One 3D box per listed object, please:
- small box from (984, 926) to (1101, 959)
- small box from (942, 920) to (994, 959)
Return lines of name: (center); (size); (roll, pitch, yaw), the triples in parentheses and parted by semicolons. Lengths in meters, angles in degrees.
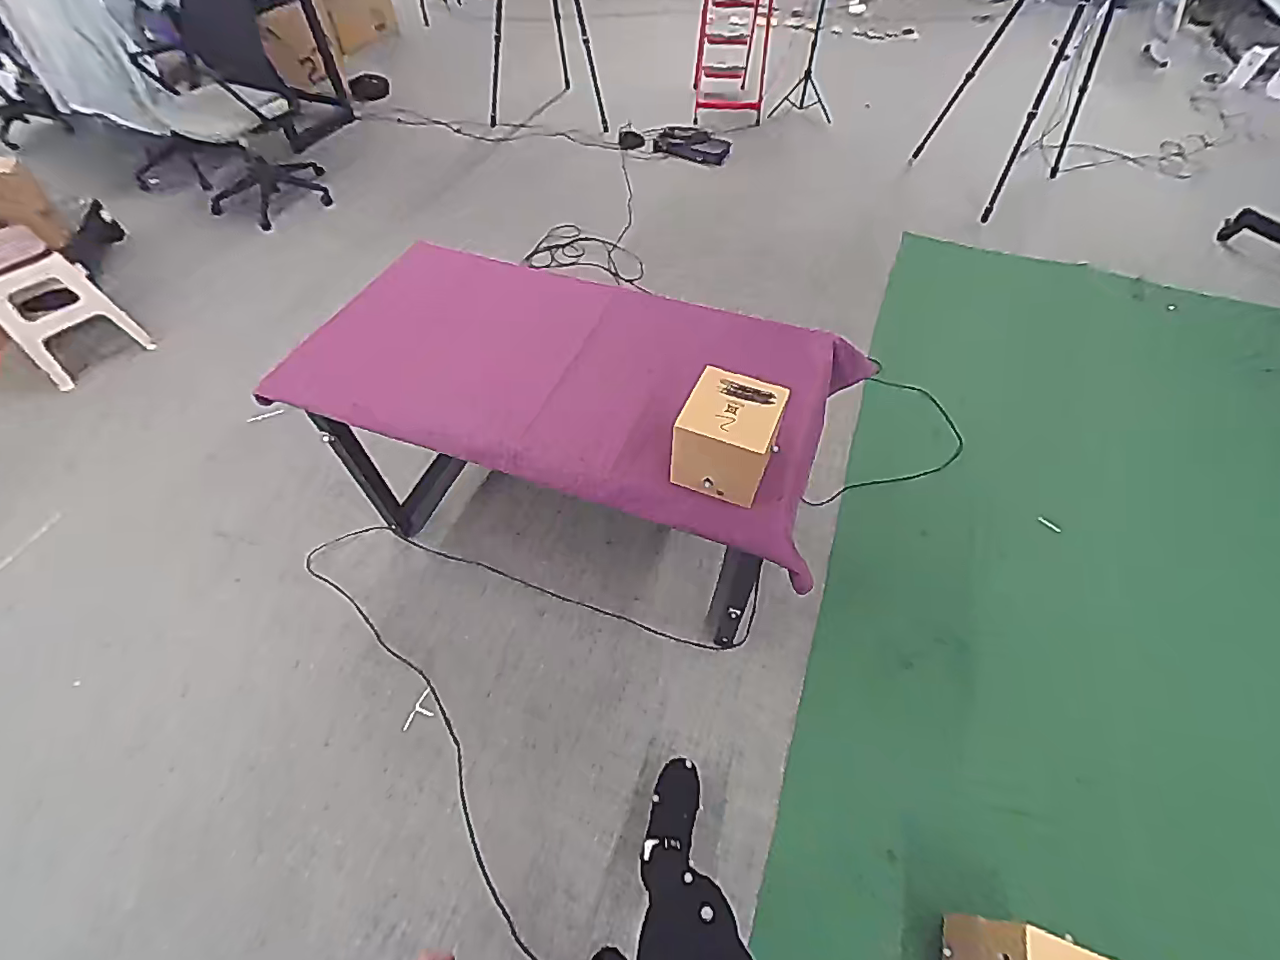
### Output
small box: (0.751, 0.948, 0.983); (0.179, 0.176, 0.168); (18, 55, 11)
small box: (0.751, 1.042, 1.115); (0.179, 0.176, 0.168); (18, 55, 12)
